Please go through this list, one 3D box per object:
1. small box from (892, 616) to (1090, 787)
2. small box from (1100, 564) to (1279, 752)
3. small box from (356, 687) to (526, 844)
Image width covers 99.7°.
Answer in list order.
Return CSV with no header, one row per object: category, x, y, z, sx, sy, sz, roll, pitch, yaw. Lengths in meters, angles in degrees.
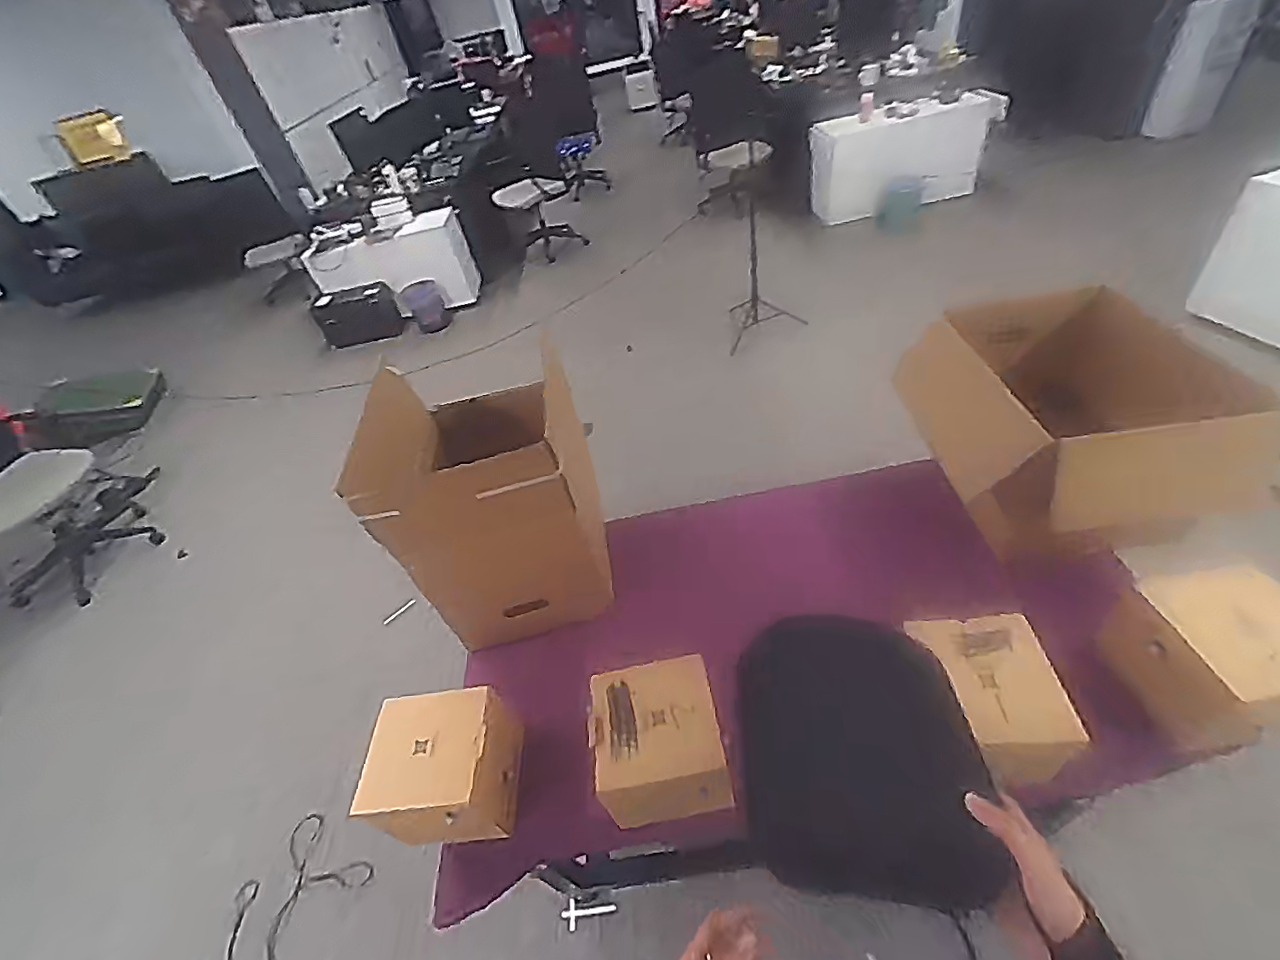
small box,0.475,0.316,0.770,0.168,0.176,0.179,-7,45,9
small box,0.800,0.247,0.750,0.168,0.176,0.179,-12,43,4
small box,-0.295,0.448,0.843,0.179,0.176,0.168,-9,43,4
